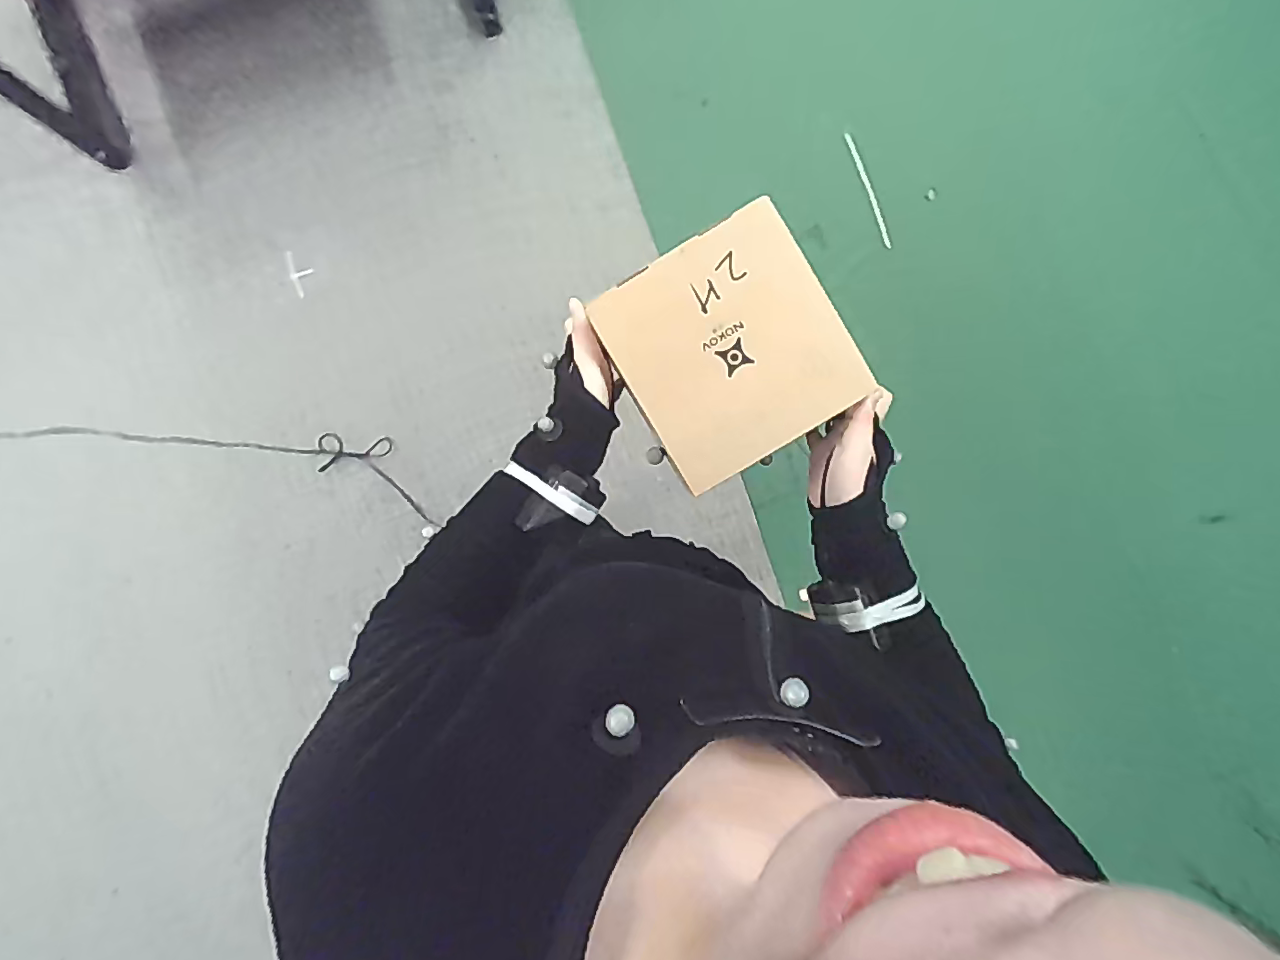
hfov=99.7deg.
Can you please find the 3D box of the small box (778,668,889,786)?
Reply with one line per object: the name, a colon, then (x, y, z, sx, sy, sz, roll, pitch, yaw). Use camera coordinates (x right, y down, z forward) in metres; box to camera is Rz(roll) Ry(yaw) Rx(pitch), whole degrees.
small box: (0.424, 0.544, 1.212, 0.168, 0.176, 0.179, -11, 85, -3)
